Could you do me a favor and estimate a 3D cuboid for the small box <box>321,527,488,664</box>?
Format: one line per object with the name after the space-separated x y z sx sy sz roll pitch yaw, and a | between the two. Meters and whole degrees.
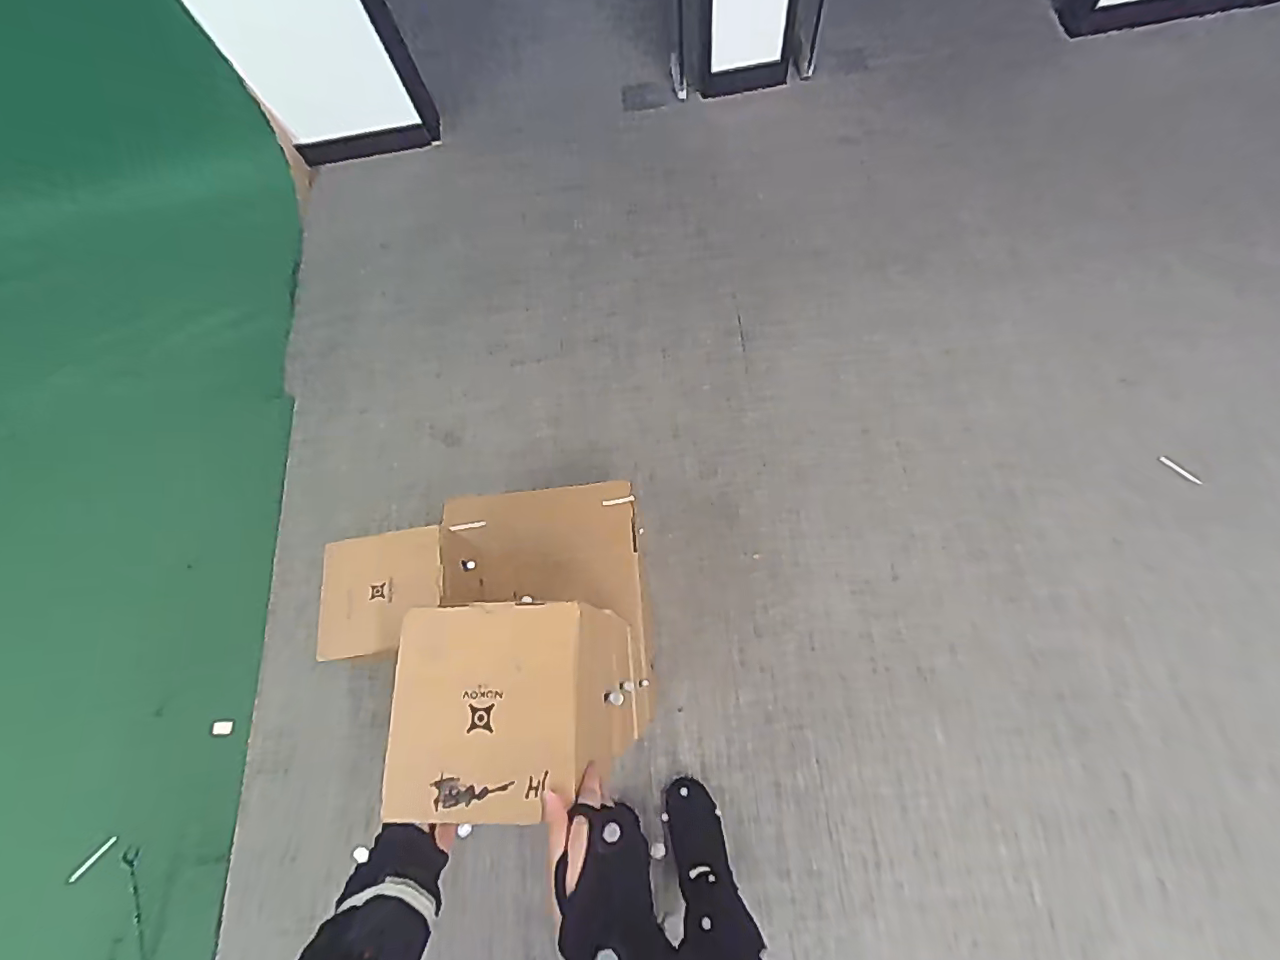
-0.339 0.181 0.816 0.179 0.176 0.168 -9 68 4 | small box

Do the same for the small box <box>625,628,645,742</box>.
-0.084 0.341 0.900 0.179 0.176 0.168 -6 69 4 | small box

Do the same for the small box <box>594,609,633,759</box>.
-0.101 0.282 0.749 0.168 0.176 0.179 -5 71 3 | small box

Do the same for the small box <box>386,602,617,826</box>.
-0.119 0.222 0.541 0.168 0.176 0.179 -3 70 8 | small box
